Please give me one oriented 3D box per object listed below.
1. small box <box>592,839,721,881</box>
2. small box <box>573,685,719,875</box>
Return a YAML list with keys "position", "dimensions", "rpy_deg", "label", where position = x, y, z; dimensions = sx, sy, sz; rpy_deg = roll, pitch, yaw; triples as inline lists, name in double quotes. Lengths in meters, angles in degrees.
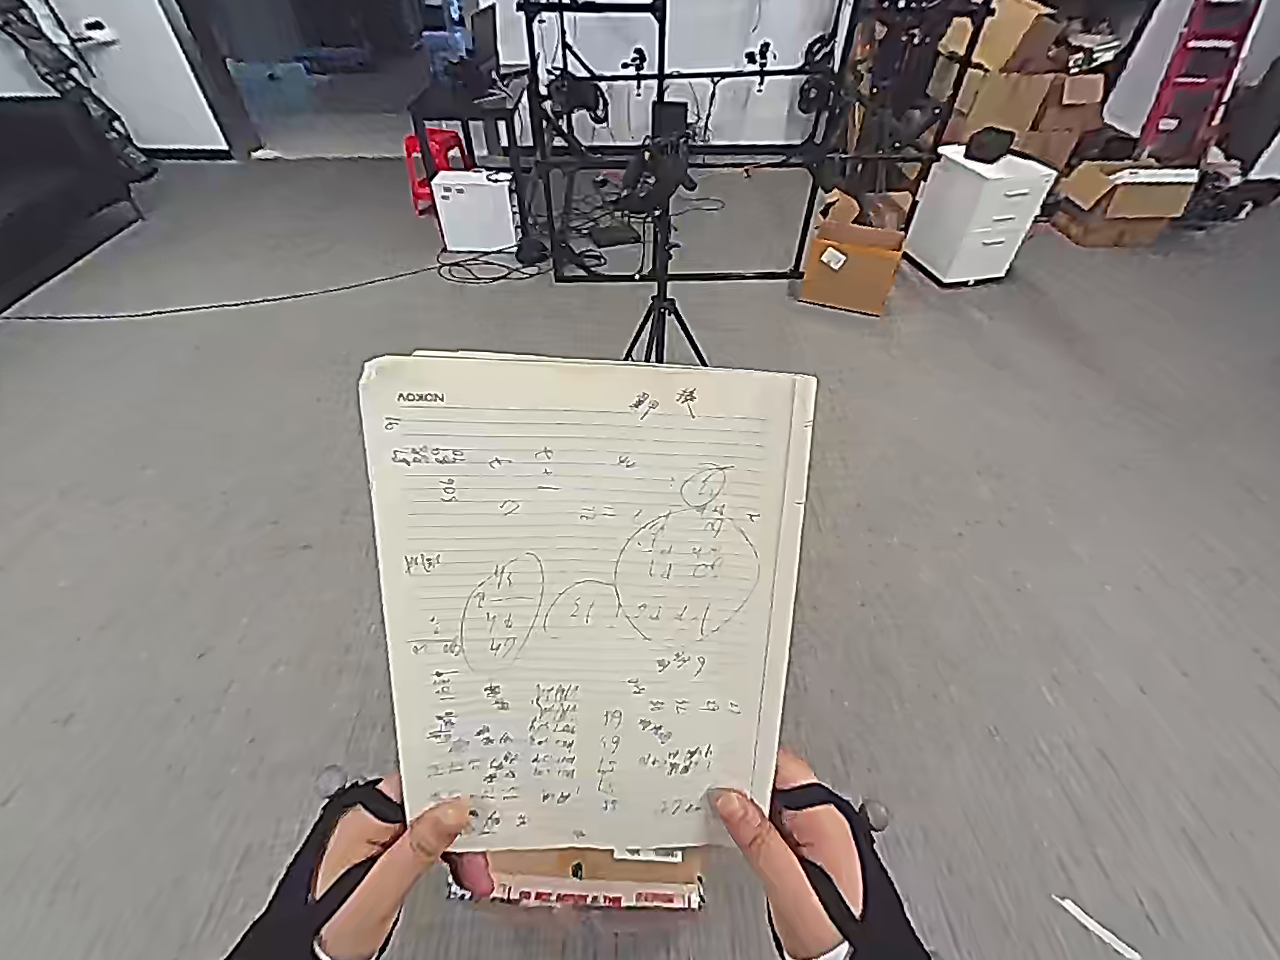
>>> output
- position: [0.019, 0.504, 0.832]
  dimensions: [0.179, 0.176, 0.168]
  rpy_deg: [2, 47, -1]
  label: "small box"
- position: [0.008, 0.393, 0.708]
  dimensions: [0.168, 0.176, 0.179]
  rpy_deg: [5, 48, 1]
  label: "small box"
